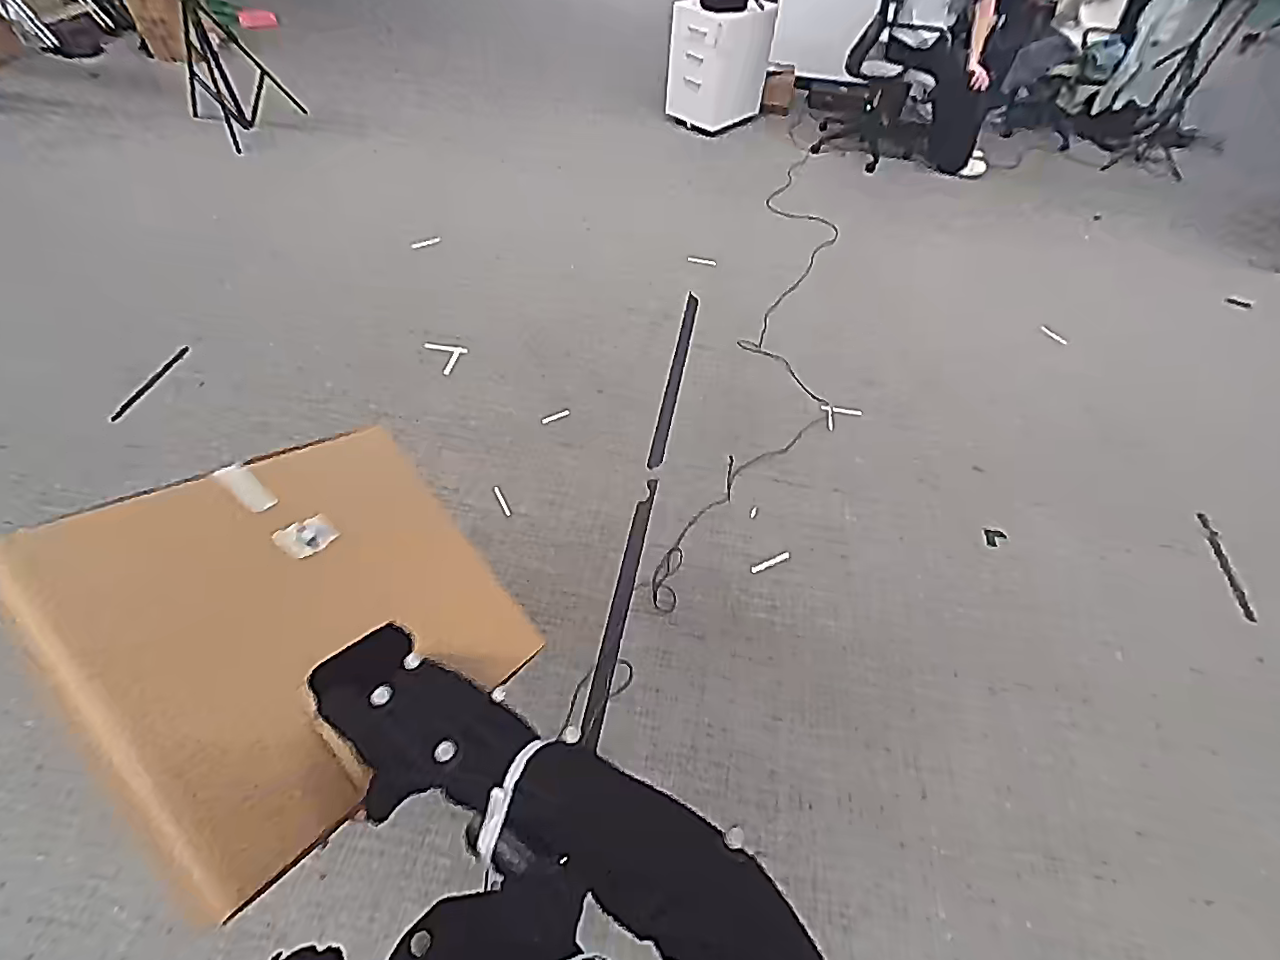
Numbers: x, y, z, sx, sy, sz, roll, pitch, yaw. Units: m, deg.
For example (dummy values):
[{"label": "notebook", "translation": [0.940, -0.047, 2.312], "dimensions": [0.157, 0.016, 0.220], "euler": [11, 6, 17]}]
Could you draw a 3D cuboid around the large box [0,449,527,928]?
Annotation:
[{"label": "large box", "translation": [-0.406, 0.230, 0.612], "dimensions": [0.320, 0.408, 0.320], "euler": [51, 38, 5]}]
